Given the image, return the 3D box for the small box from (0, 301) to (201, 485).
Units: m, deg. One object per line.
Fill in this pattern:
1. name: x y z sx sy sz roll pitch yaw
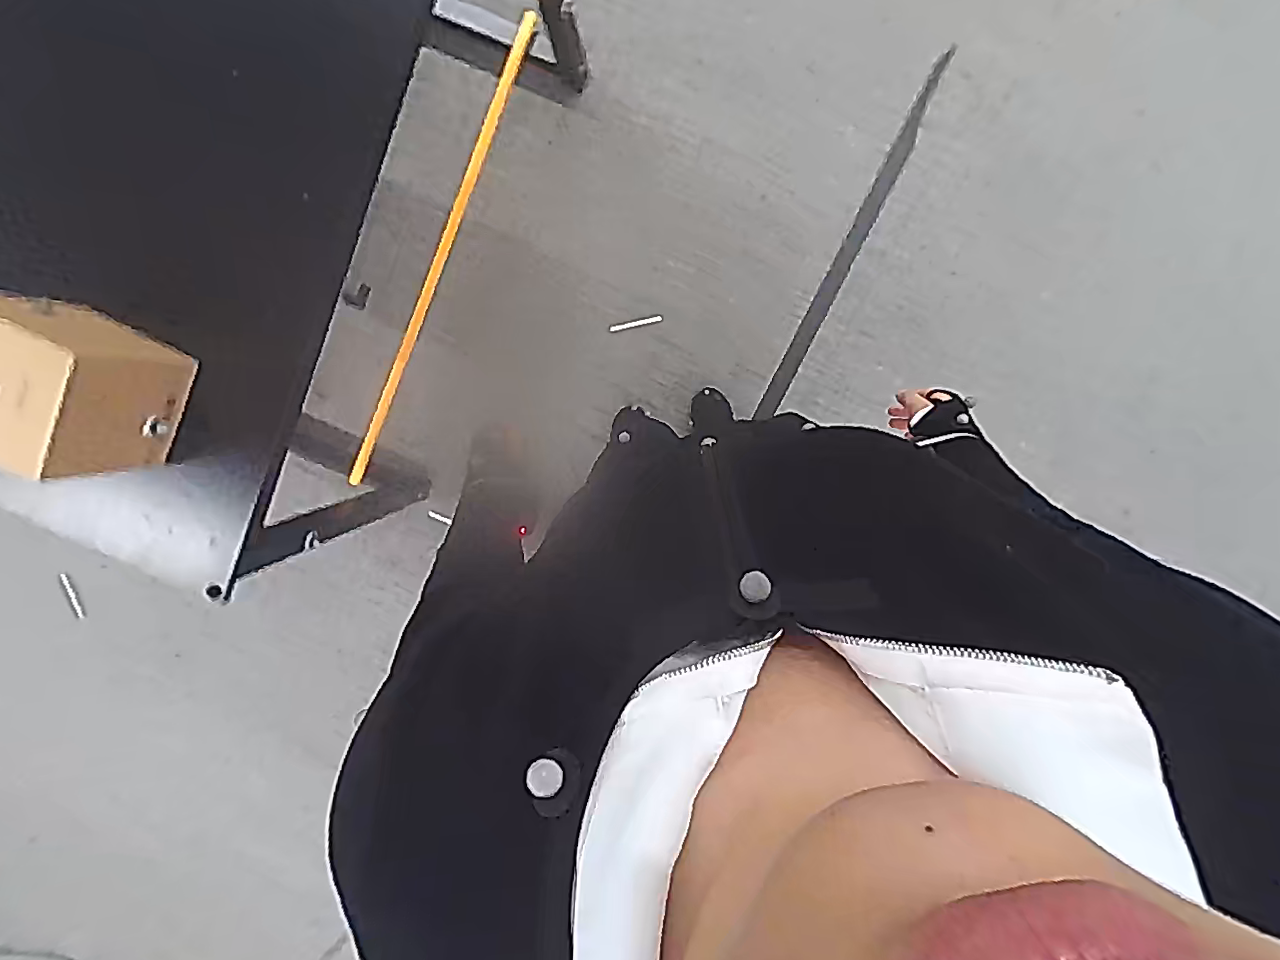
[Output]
1. small box: -0.728 -0.113 0.691 0.179 0.176 0.168 25 100 -2
